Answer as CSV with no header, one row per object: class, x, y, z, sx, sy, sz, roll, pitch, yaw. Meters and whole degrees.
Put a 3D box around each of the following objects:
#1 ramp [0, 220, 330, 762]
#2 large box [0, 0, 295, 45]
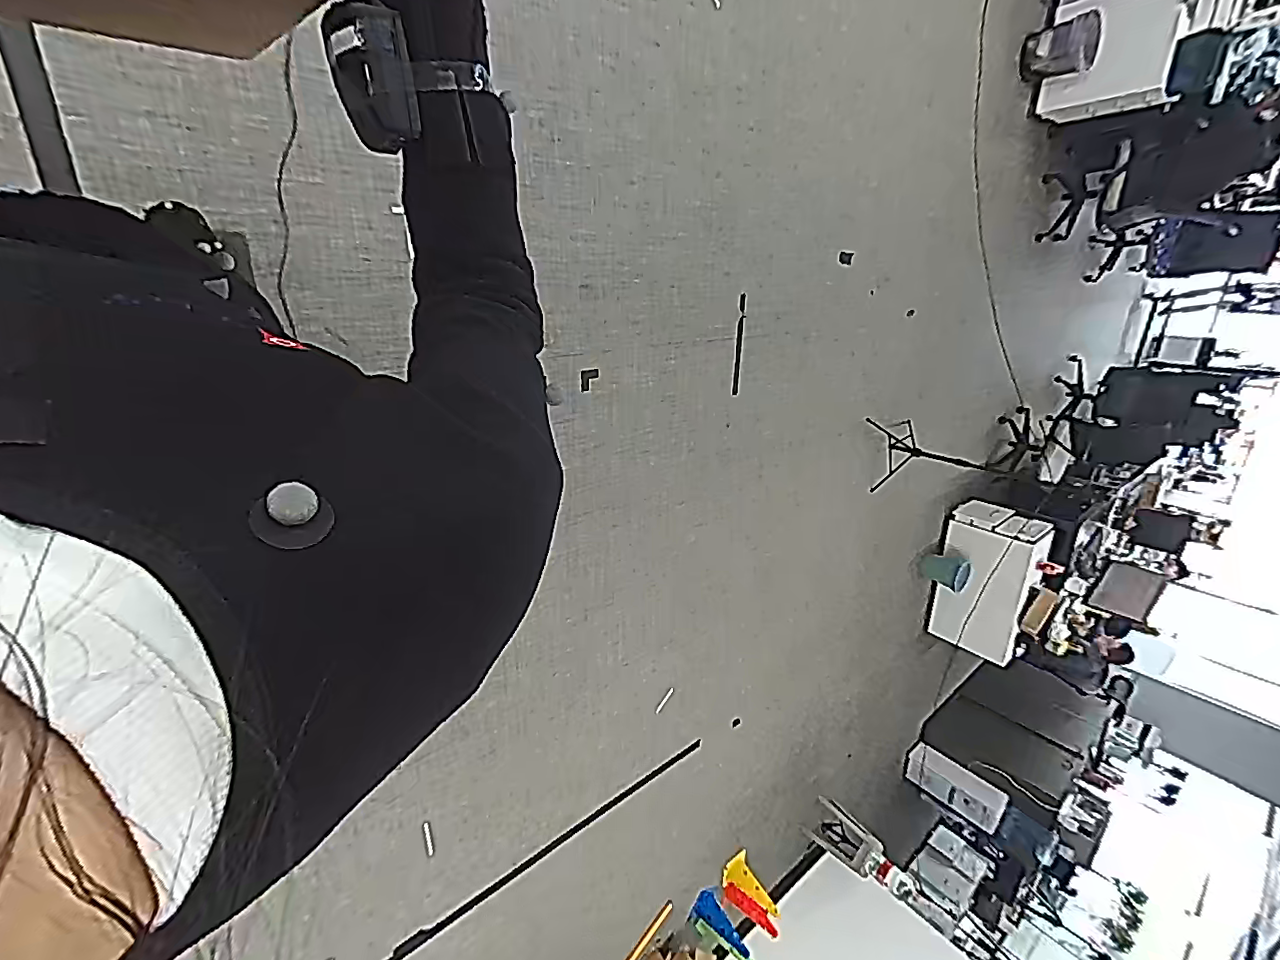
ramp,-0.994,0.014,1.095,0.509,0.206,0.991,-14,113,-35
large box,-0.402,-0.412,0.203,0.408,0.320,0.320,-19,127,-37
